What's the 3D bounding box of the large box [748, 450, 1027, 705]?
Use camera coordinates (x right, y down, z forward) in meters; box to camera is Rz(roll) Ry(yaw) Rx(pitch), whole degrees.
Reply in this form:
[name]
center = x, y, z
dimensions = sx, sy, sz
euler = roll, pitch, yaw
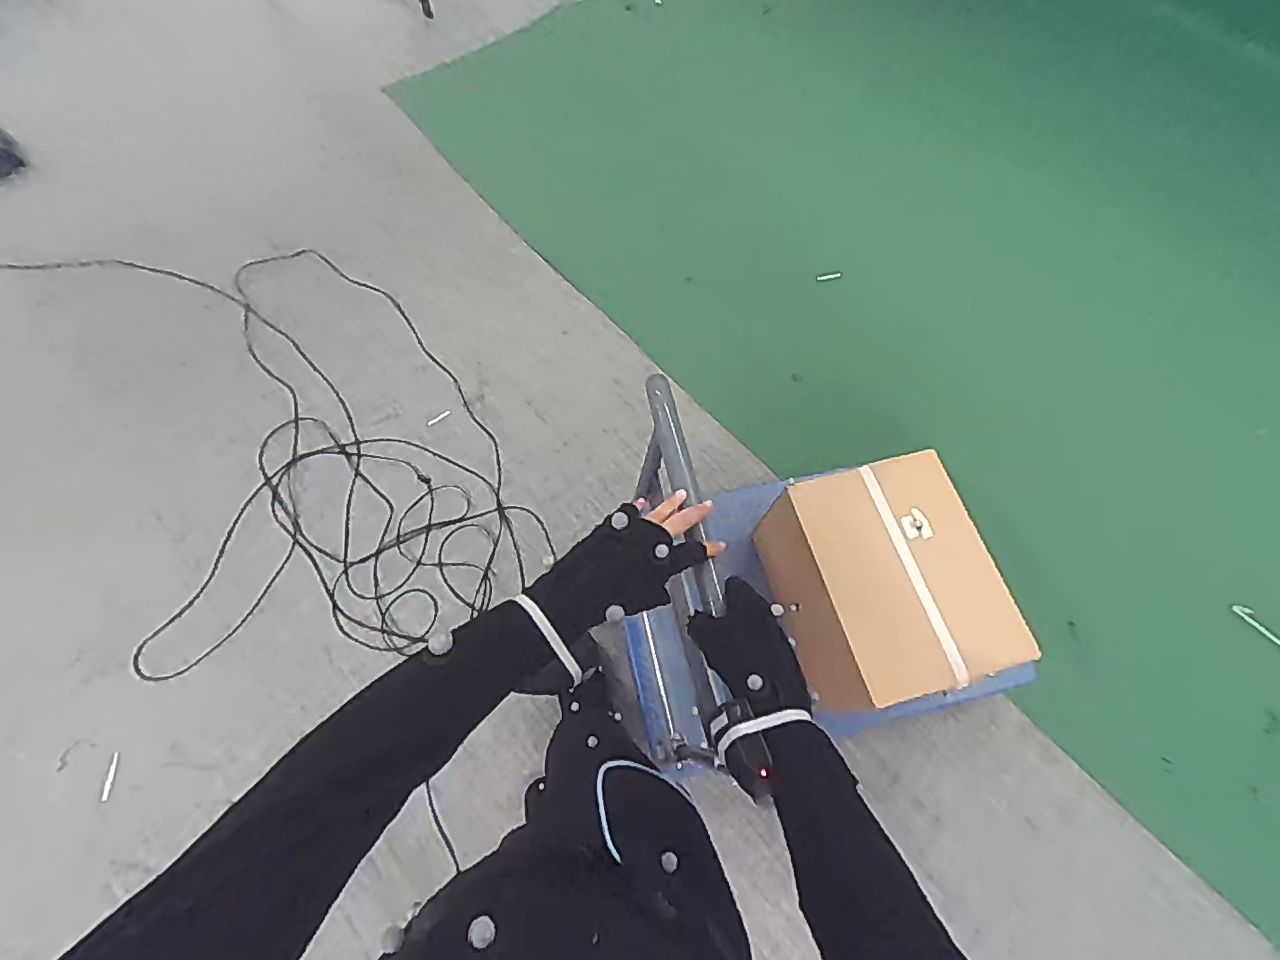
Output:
[large box]
center = 0.459, 0.211, 1.111
dimensions = 0.320, 0.320, 0.408
euler = -13, 68, -9
